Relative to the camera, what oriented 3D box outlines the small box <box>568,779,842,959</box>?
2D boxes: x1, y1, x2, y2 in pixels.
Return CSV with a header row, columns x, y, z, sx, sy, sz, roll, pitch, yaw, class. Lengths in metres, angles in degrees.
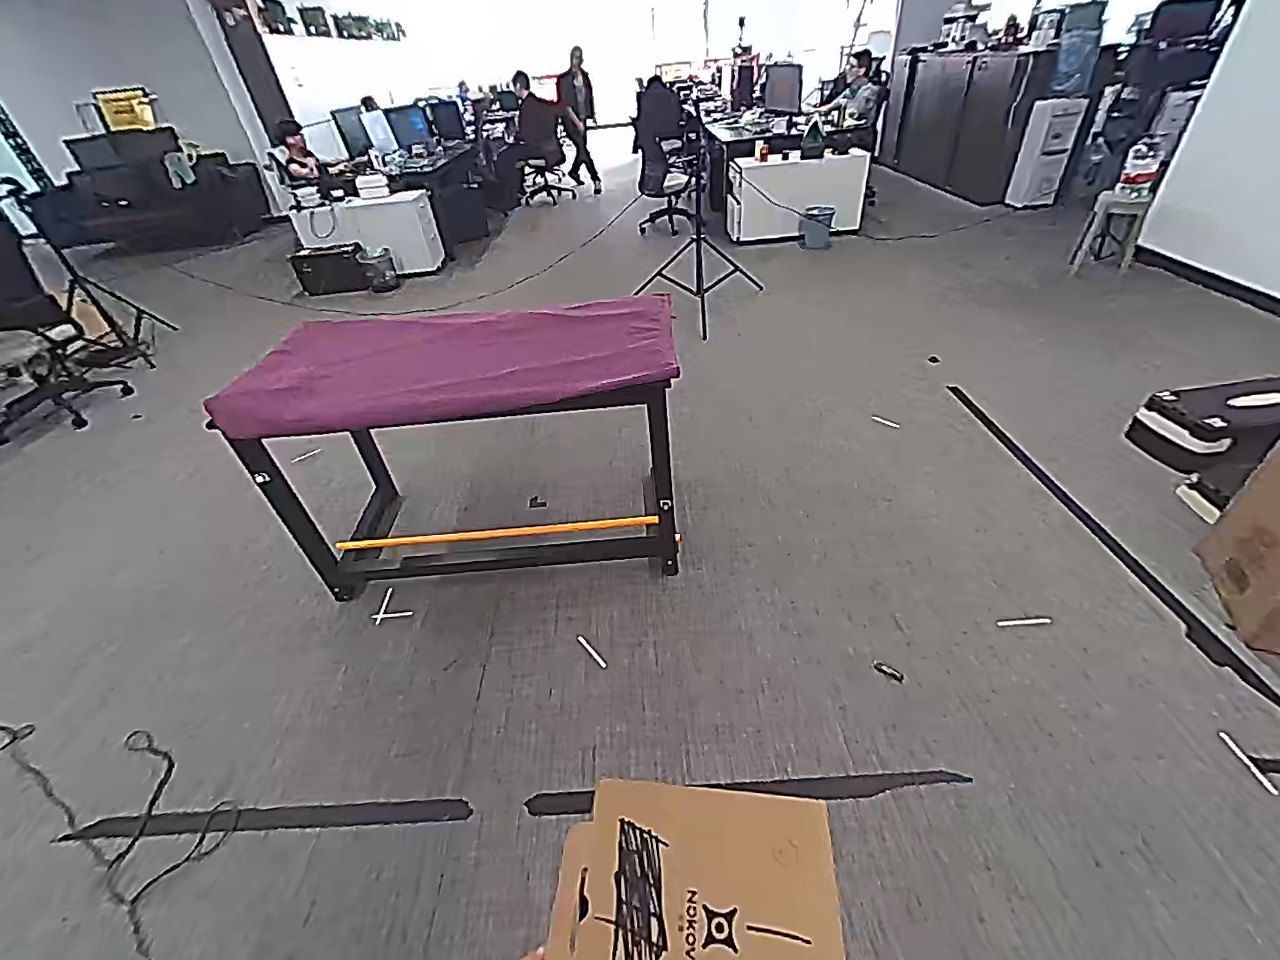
x,y,z,sx,sy,sz,roll,pitch,yaw,class
0.047,0.352,0.410,0.179,0.176,0.168,2,42,6,small box
